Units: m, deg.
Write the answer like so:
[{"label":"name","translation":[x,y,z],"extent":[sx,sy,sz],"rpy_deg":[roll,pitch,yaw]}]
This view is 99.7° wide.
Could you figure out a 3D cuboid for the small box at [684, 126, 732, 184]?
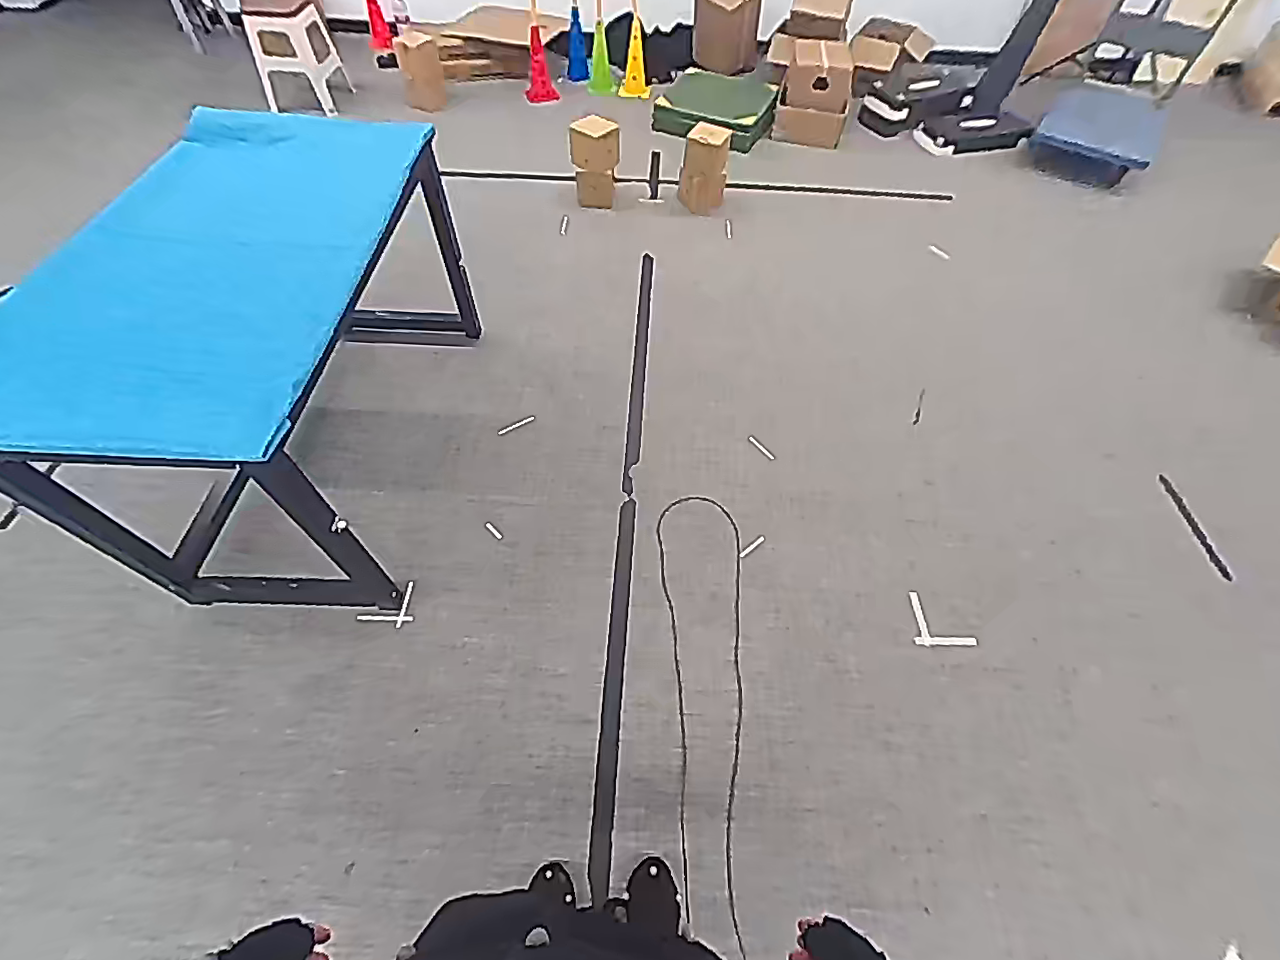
[{"label":"small box","translation":[0.320,-1.551,2.582],"extent":[0.168,0.176,0.179],"rpy_deg":[24,57,11]}]

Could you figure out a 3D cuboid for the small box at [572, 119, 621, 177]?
[{"label":"small box","translation":[-0.210,-1.584,2.575],"extent":[0.179,0.176,0.168],"rpy_deg":[34,60,21]}]

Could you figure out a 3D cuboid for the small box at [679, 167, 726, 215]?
[{"label":"small box","translation":[0.309,-1.468,2.723],"extent":[0.179,0.176,0.168],"rpy_deg":[-22,61,-17]}]

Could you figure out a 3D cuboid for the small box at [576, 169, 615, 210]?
[{"label":"small box","translation":[-0.217,-1.478,2.705],"extent":[0.179,0.176,0.168],"rpy_deg":[4,55,2]}]
